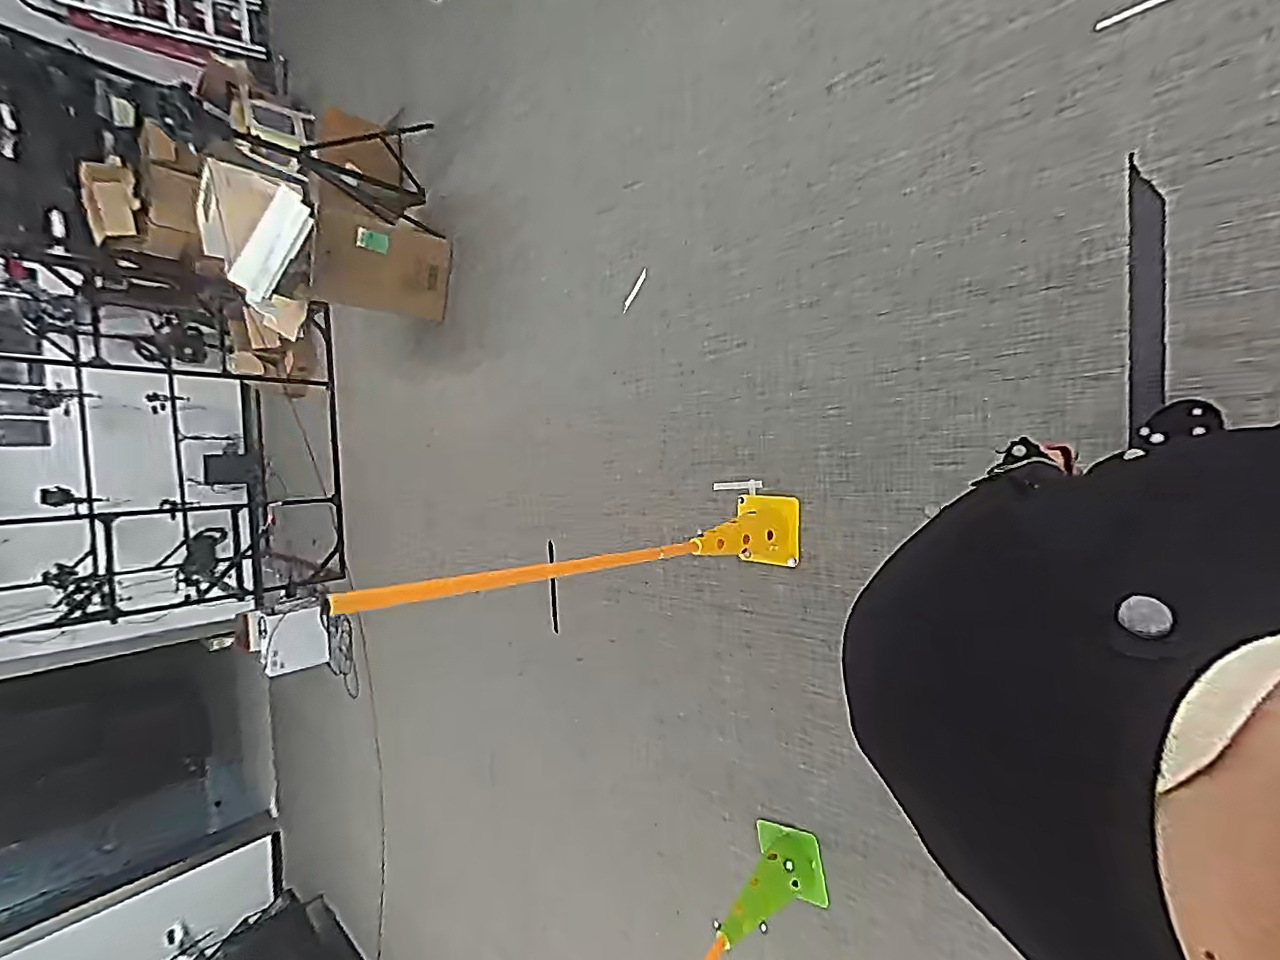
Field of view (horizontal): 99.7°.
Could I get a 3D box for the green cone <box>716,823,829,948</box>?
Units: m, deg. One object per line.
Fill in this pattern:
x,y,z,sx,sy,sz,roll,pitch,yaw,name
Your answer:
0.326,1.121,1.444,0.200,0.368,0.202,-15,81,42,green cone
